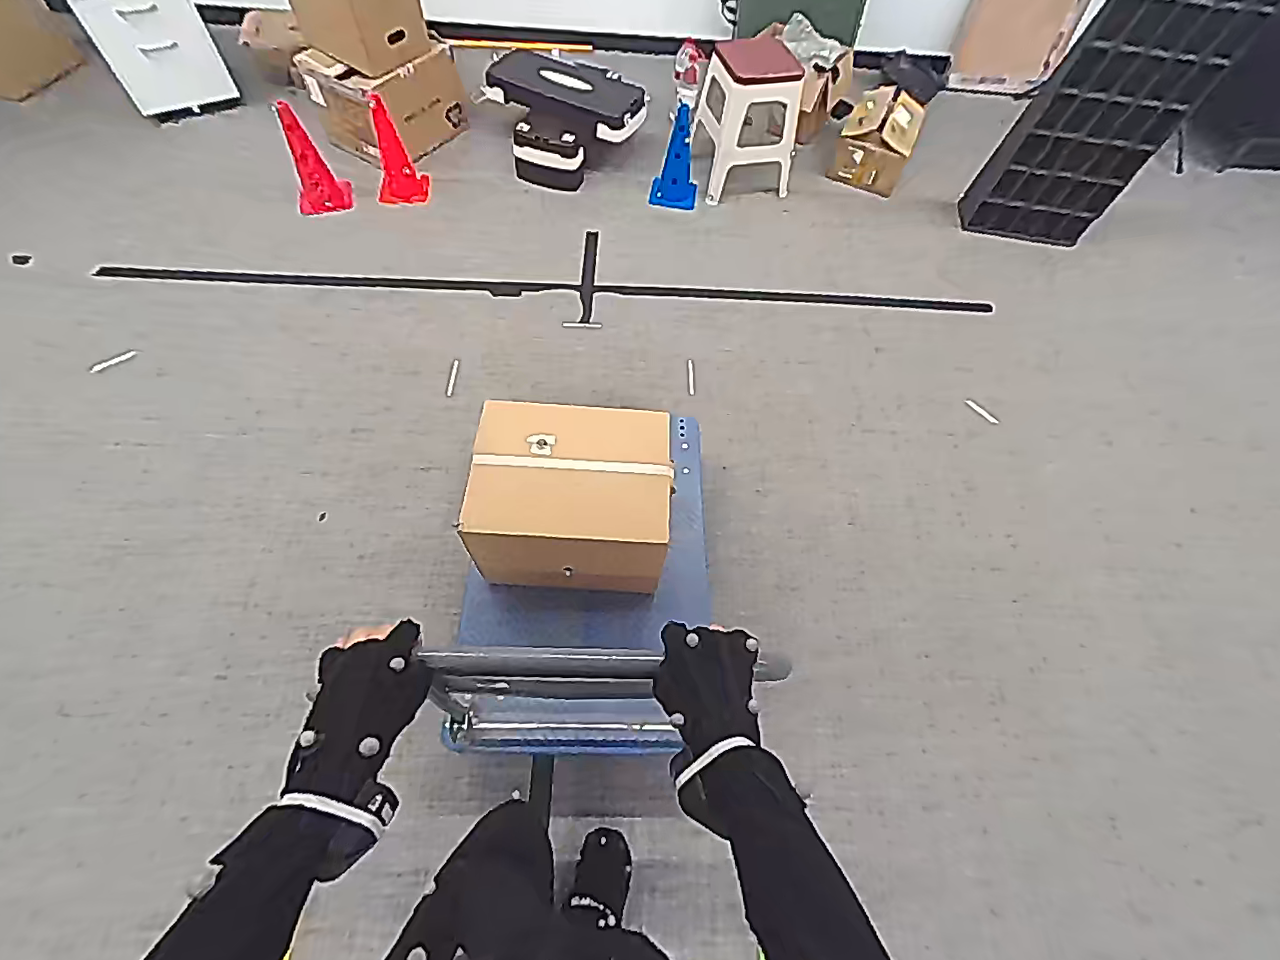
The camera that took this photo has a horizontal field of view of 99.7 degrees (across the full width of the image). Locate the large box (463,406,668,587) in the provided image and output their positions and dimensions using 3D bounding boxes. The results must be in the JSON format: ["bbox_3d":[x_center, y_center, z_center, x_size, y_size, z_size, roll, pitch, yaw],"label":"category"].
[{"bbox_3d":[-0.146,0.051,1.247,0.408,0.320,0.320,3,61,-1],"label":"large box"}]
